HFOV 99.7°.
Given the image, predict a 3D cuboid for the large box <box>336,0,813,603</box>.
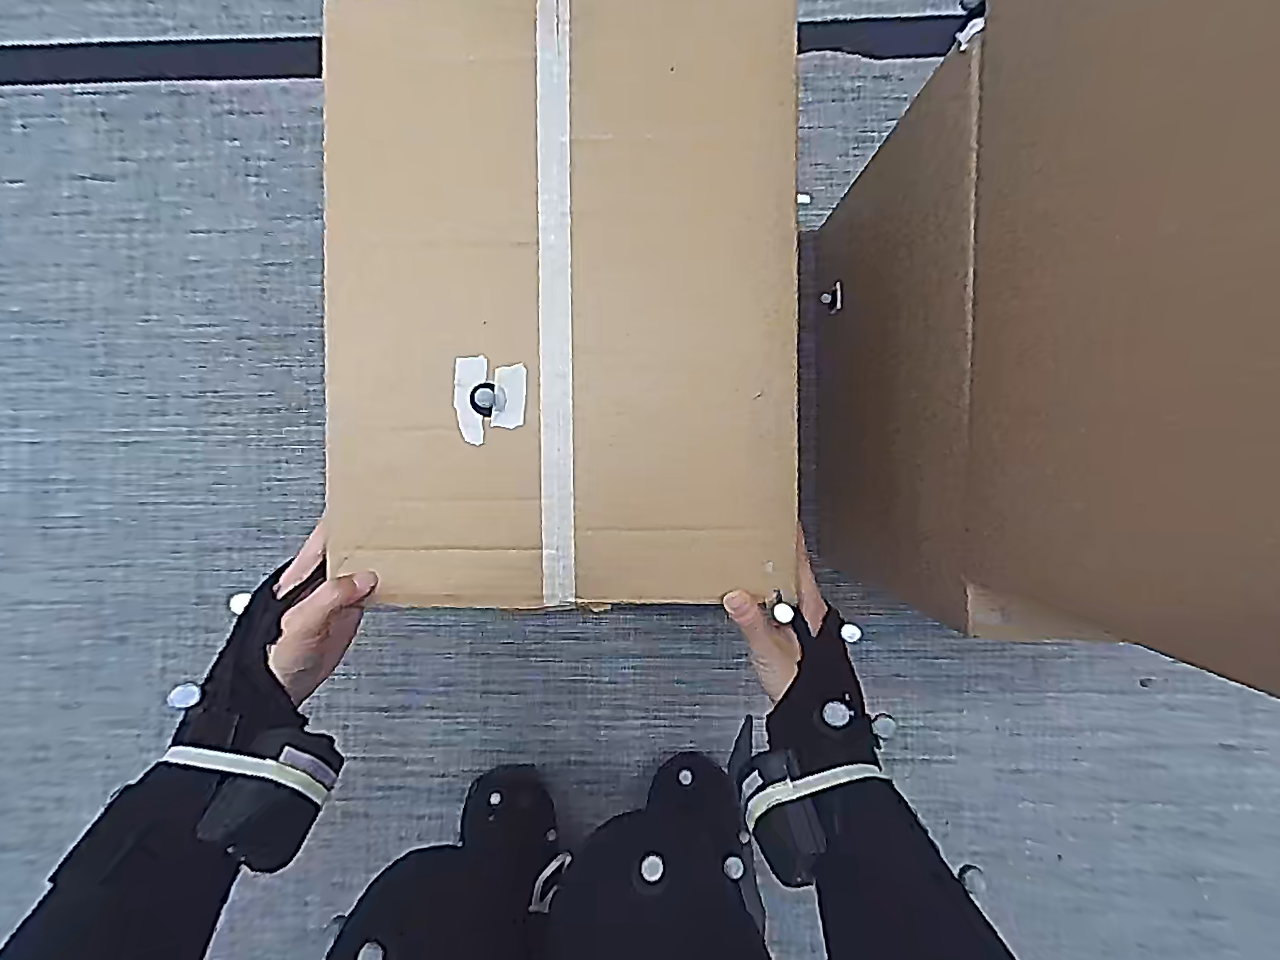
[{"bbox_3d":[-0.042,-0.123,0.509,0.320,0.320,0.408,-1,91,2],"label":"large box"}]
